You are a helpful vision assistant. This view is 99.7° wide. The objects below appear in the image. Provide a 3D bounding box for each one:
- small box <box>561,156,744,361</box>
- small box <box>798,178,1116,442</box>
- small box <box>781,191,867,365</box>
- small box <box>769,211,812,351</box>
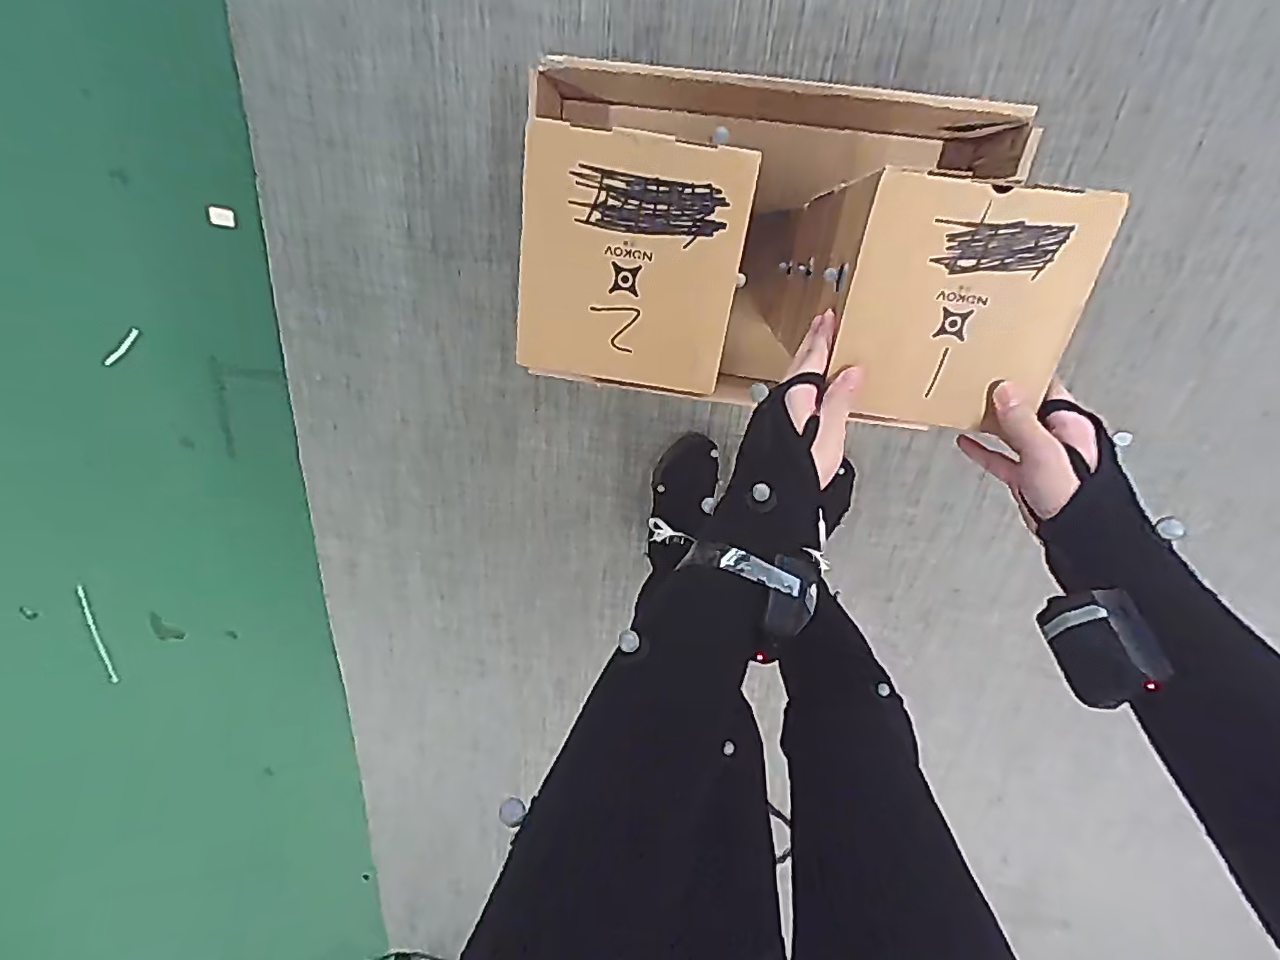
[{"bbox_3d":[0.014,-0.256,0.639,0.168,0.176,0.179,12,113,0],"label":"small box"},{"bbox_3d":[0.250,-0.154,0.485,0.168,0.176,0.179,10,115,3],"label":"small box"},{"bbox_3d":[0.270,-0.222,0.633,0.168,0.176,0.179,11,114,3],"label":"small box"},{"bbox_3d":[0.289,-0.282,0.783,0.168,0.176,0.179,8,114,3],"label":"small box"}]
